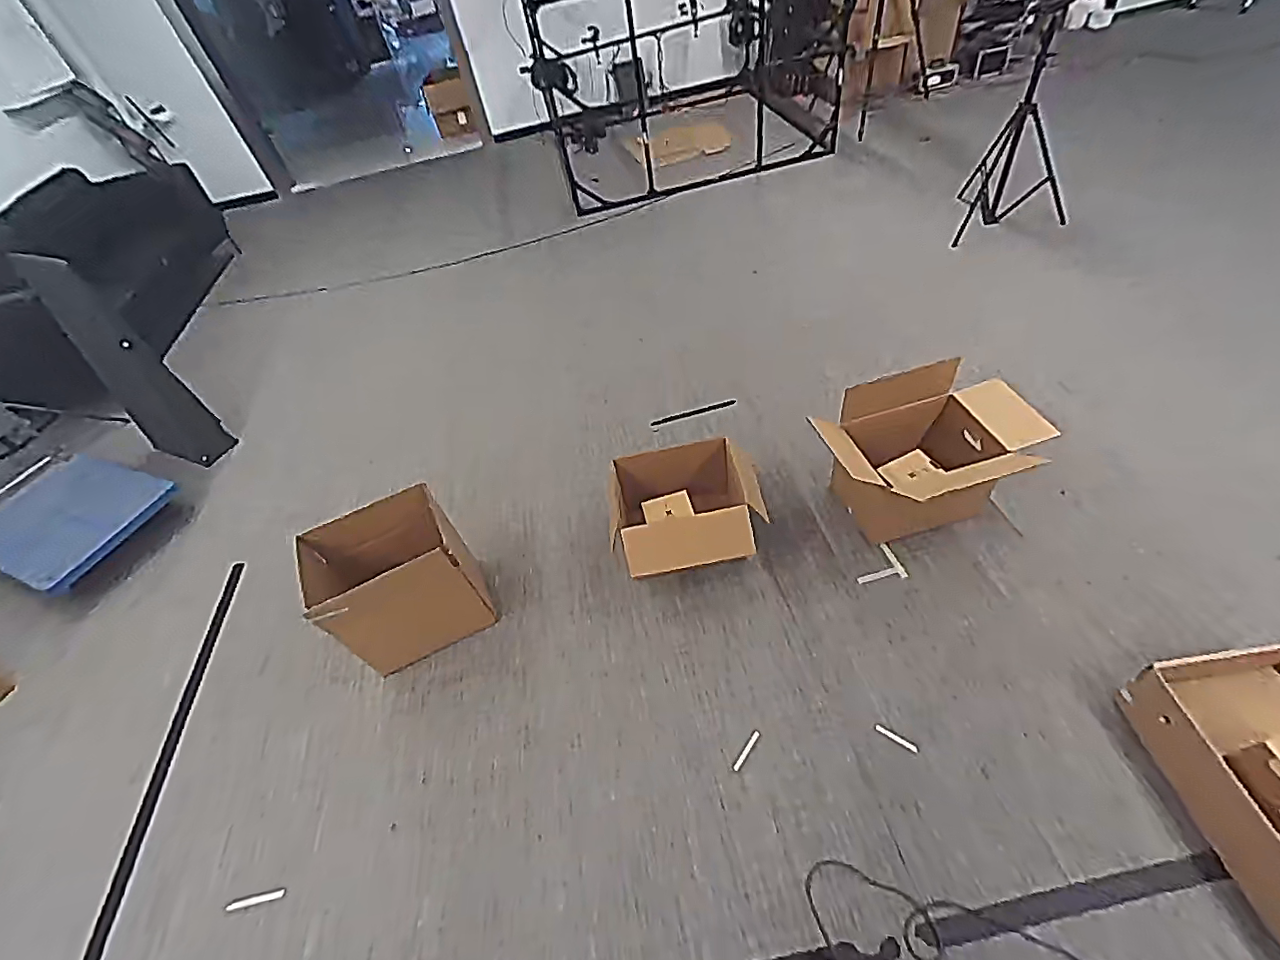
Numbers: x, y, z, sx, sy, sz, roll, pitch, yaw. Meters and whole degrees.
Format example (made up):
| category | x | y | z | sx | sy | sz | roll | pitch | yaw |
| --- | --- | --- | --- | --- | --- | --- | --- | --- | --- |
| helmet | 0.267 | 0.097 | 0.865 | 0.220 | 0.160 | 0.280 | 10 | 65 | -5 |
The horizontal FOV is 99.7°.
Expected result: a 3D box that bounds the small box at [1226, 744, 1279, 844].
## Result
| category | x | y | z | sx | sy | sz | roll | pitch | yaw |
| --- | --- | --- | --- | --- | --- | --- | --- | --- | --- |
| small box | 1.416 | 0.656 | 1.140 | 0.179 | 0.176 | 0.168 | -13 | 49 | -1 |
